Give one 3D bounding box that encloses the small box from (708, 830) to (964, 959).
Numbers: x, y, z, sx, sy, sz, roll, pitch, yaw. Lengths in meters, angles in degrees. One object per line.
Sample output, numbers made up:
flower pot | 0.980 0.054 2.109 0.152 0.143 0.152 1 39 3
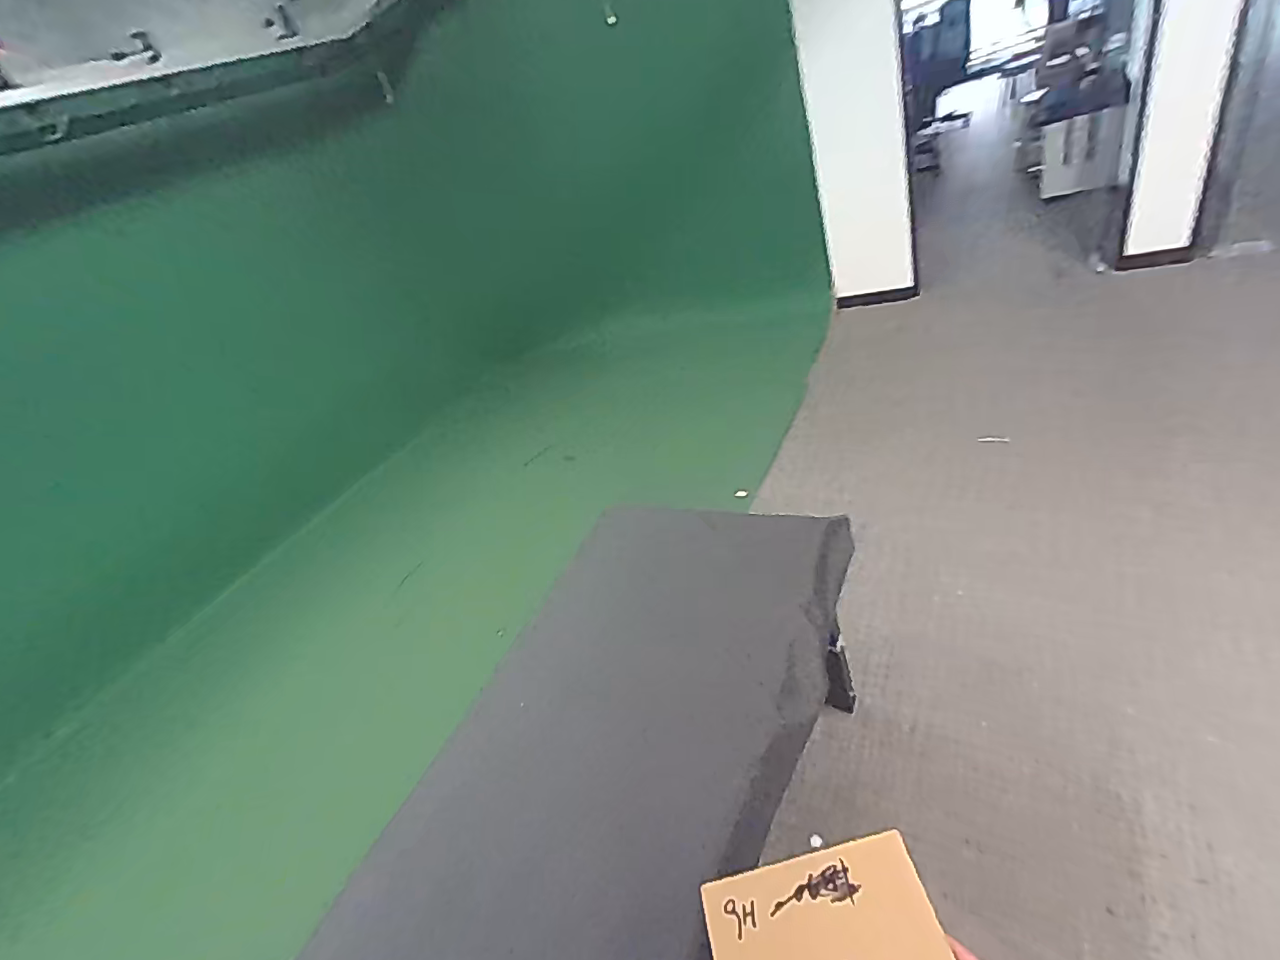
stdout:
small box | 0.168 0.405 0.420 0.168 0.176 0.179 -19 44 6
